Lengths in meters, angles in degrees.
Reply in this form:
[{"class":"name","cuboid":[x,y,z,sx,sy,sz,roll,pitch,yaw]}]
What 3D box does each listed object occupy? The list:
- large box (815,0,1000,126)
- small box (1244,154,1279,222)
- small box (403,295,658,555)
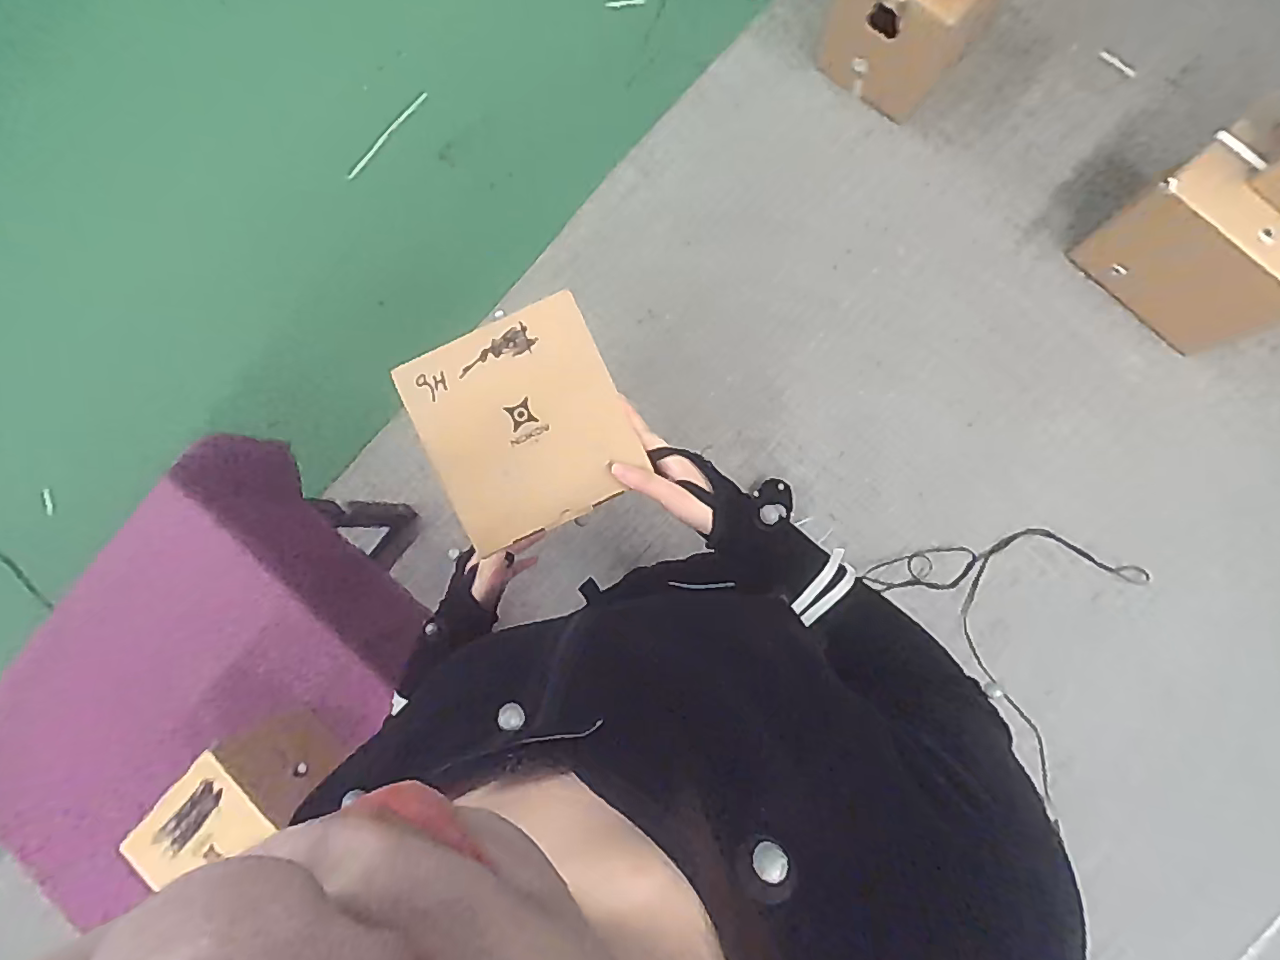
[{"class":"large box","cuboid":[0.729,-1.257,1.412,0.320,0.320,0.408,41,89,8]},{"class":"small box","cuboid":[1.369,-0.608,1.044,0.168,0.176,0.179,-39,82,-1]},{"class":"small box","cuboid":[-0.092,-0.050,0.532,0.168,0.176,0.179,-24,93,-1]}]
